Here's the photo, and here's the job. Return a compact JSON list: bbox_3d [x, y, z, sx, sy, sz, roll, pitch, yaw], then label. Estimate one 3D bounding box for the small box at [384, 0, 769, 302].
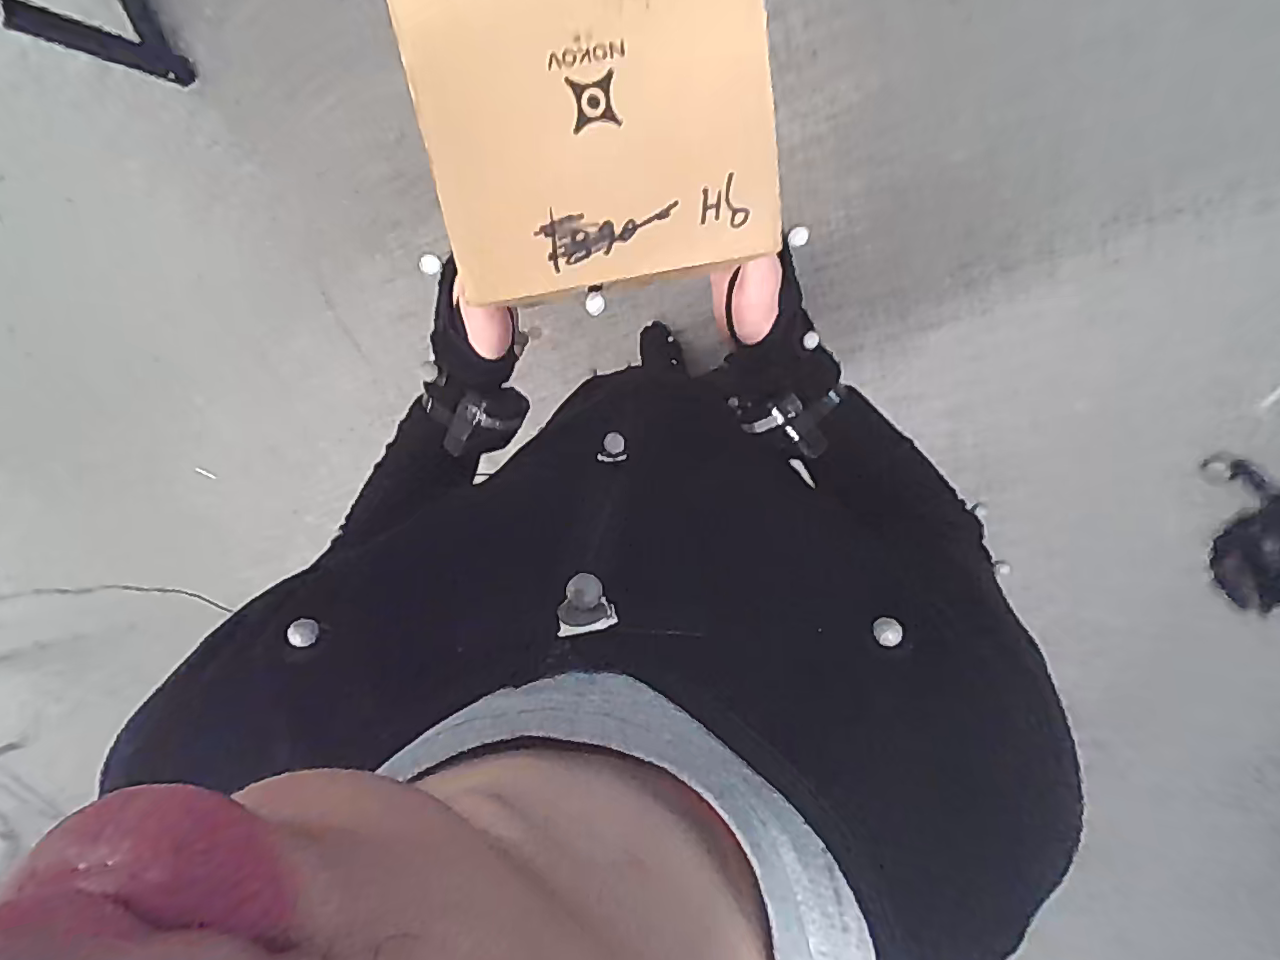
[{"bbox_3d":[-0.032,-0.213,0.327,0.168,0.176,0.179,-10,107,1],"label":"small box"}]
